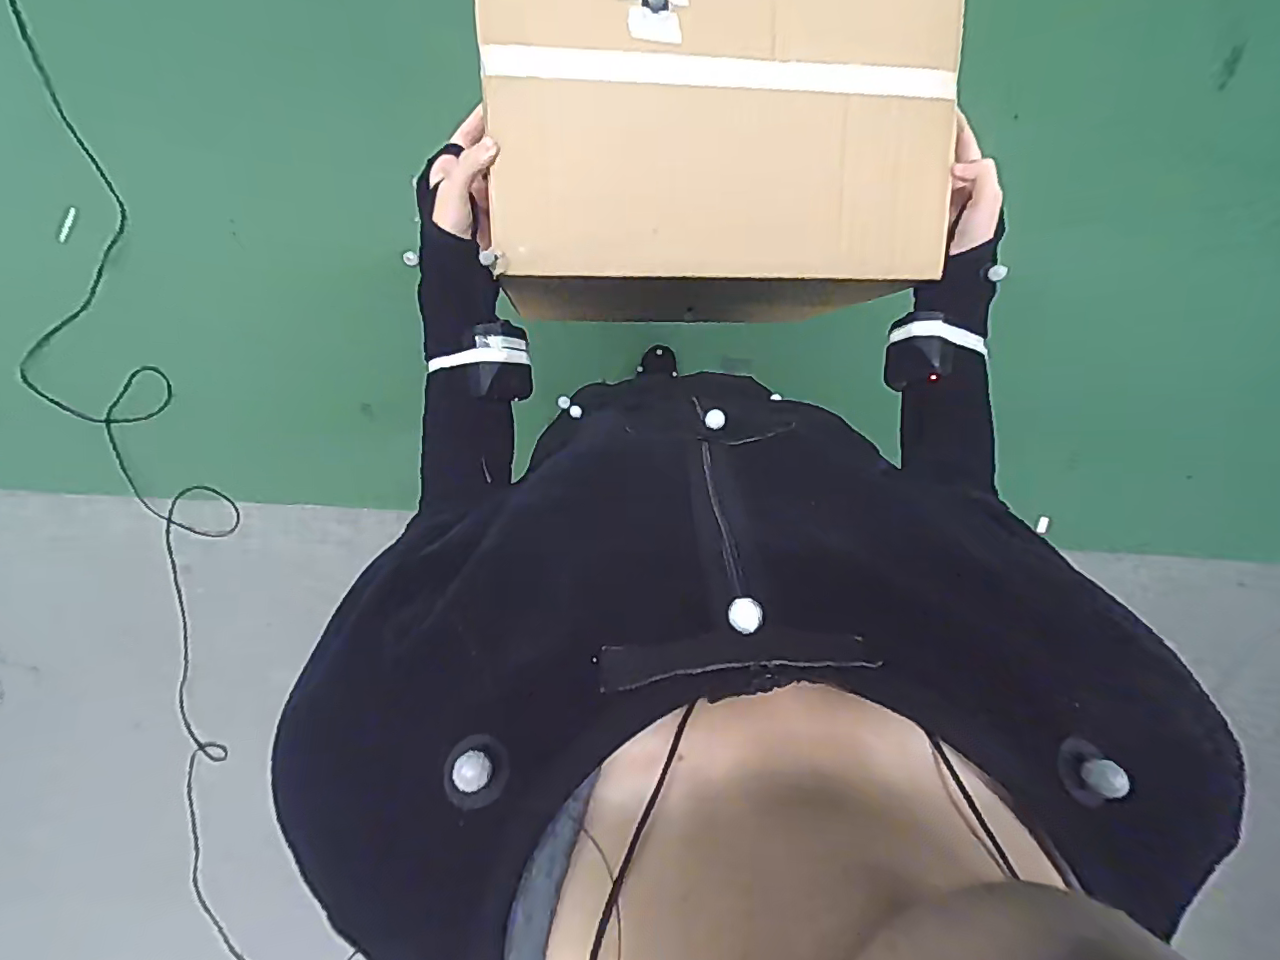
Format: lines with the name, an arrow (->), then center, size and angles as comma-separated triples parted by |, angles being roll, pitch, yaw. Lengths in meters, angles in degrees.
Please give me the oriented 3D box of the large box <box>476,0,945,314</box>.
large box -> 0.053, -0.363, 0.605 | 0.408, 0.320, 0.320 | -2, 99, -6
